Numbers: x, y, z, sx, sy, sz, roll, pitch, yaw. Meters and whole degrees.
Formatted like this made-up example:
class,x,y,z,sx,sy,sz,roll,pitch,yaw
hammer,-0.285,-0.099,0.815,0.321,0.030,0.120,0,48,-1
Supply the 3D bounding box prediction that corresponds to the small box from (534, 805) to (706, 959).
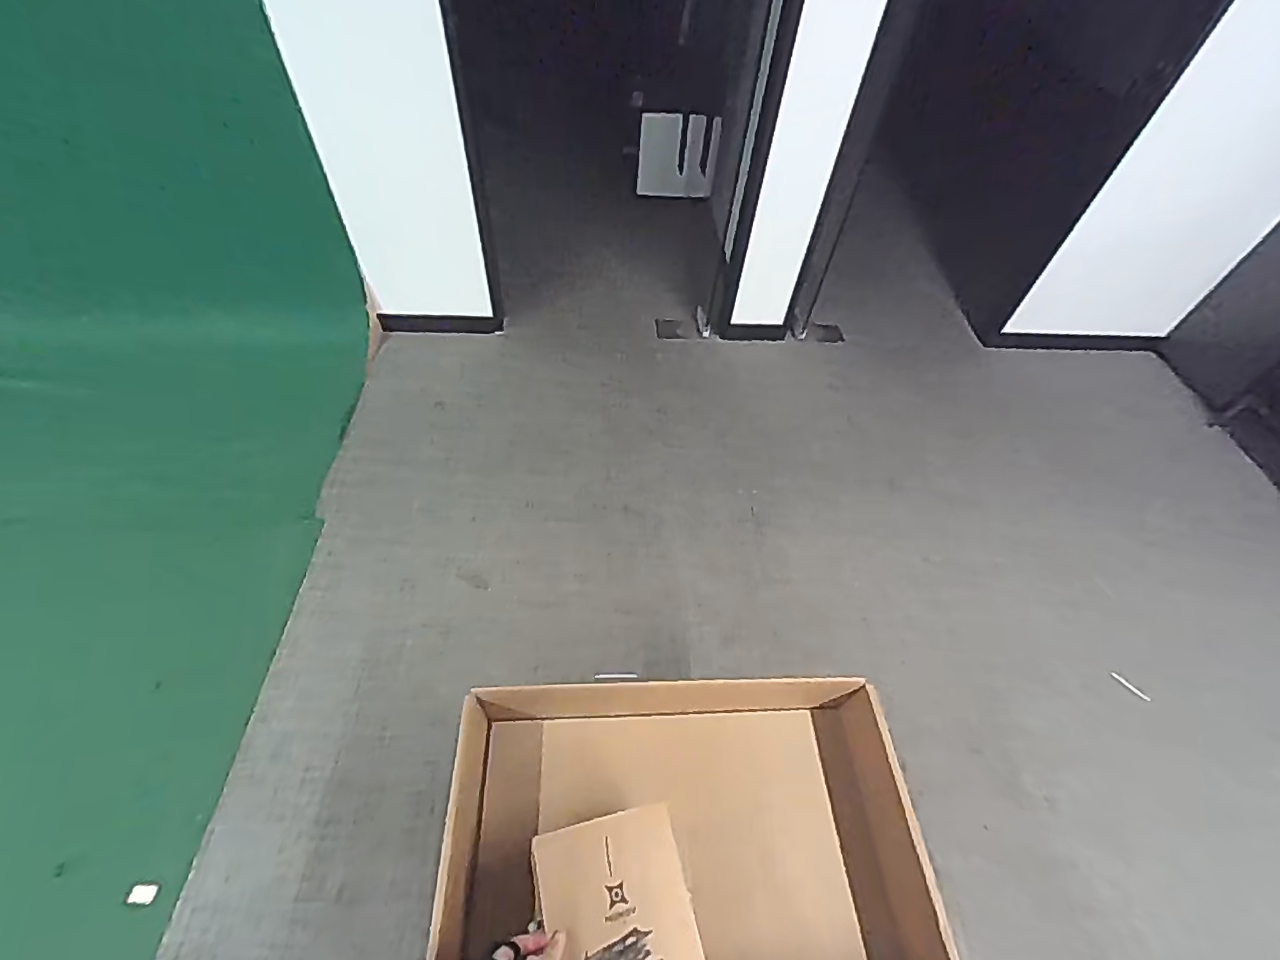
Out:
class,x,y,z,sx,sy,sz,roll,pitch,yaw
small box,-0.034,0.530,0.659,0.168,0.176,0.179,-7,49,-17
